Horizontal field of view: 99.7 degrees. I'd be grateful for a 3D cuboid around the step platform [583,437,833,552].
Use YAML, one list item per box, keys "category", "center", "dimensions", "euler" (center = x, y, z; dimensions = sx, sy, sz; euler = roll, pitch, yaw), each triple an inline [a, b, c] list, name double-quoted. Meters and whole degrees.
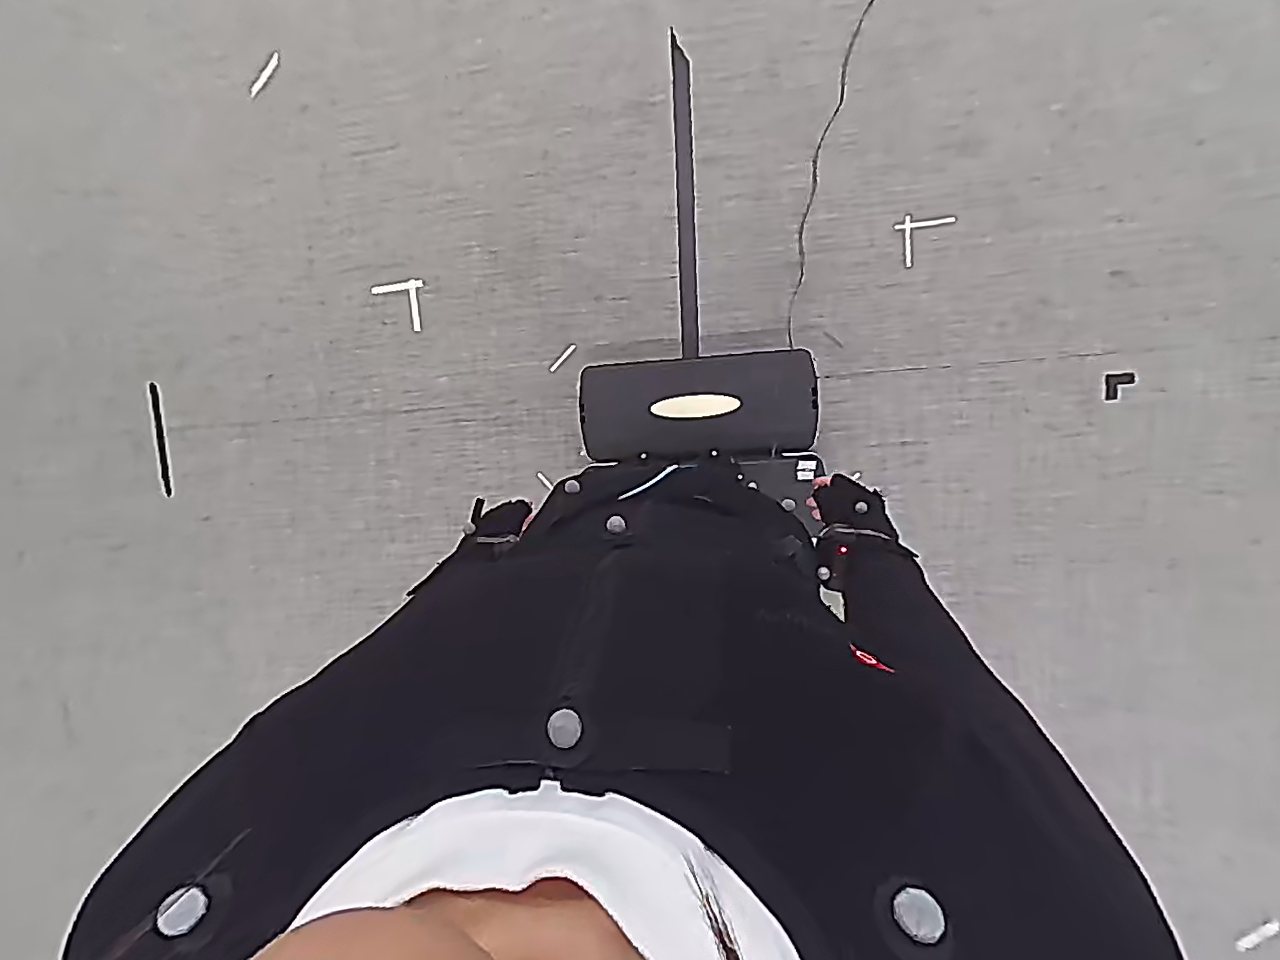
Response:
- category: "step platform"
  center: [0.183, 0.043, 1.524]
  dimensions: [0.684, 0.204, 0.286]
  euler: [-4, 93, 10]
